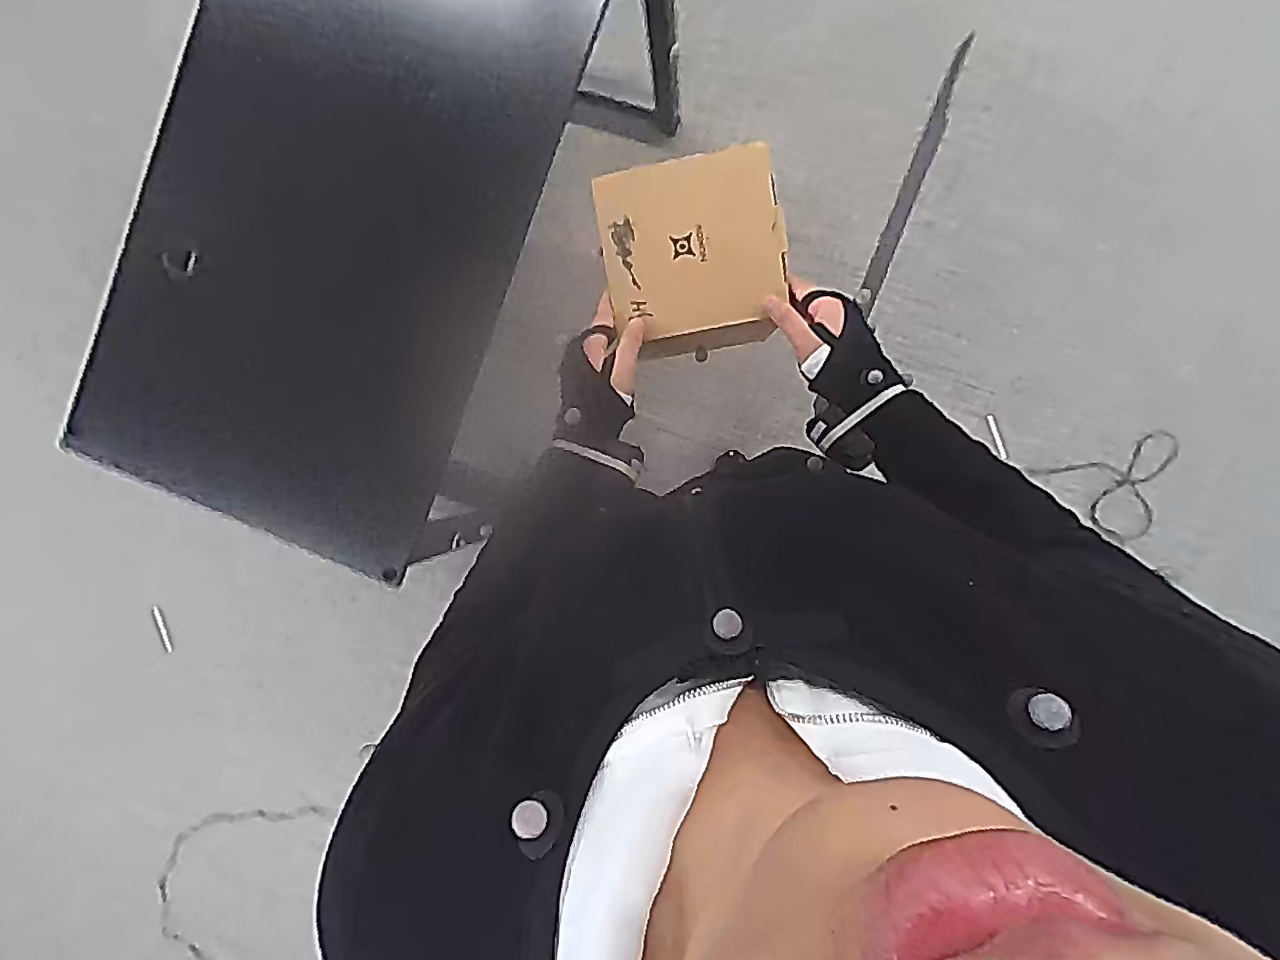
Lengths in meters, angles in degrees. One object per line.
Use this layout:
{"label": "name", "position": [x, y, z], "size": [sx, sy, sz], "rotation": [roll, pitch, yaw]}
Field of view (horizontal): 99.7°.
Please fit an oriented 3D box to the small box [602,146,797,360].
{"label": "small box", "position": [0.062, -0.237, 0.609], "size": [0.179, 0.176, 0.168], "rotation": [-9, 95, 5]}
